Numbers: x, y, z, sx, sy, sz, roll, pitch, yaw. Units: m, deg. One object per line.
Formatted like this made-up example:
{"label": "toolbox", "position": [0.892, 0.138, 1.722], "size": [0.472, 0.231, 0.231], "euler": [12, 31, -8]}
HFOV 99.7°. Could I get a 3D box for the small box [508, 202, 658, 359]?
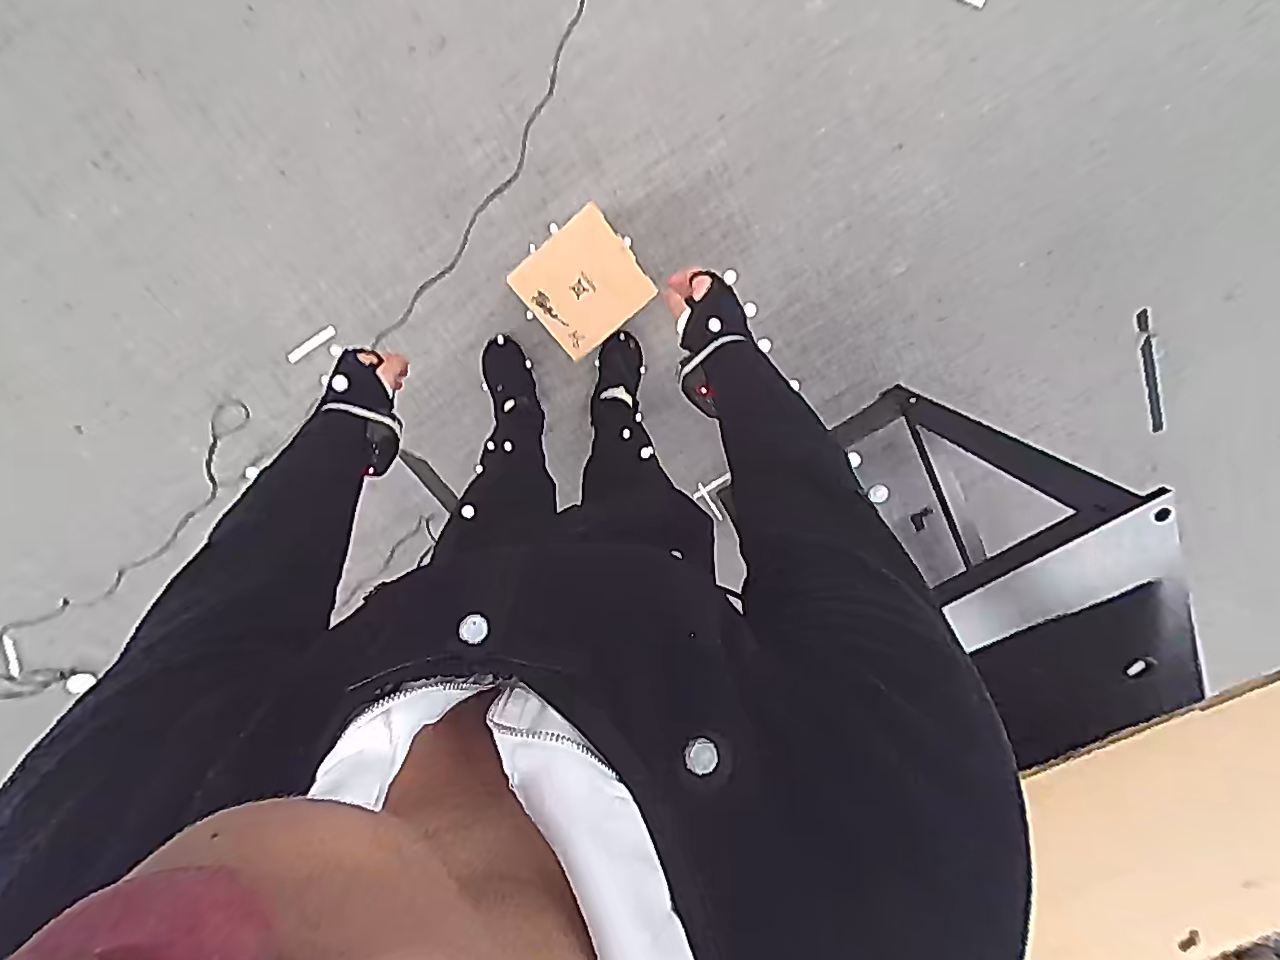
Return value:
{"label": "small box", "position": [-0.097, -0.333, 0.906], "size": [0.179, 0.176, 0.168], "euler": [-38, 112, 9]}
